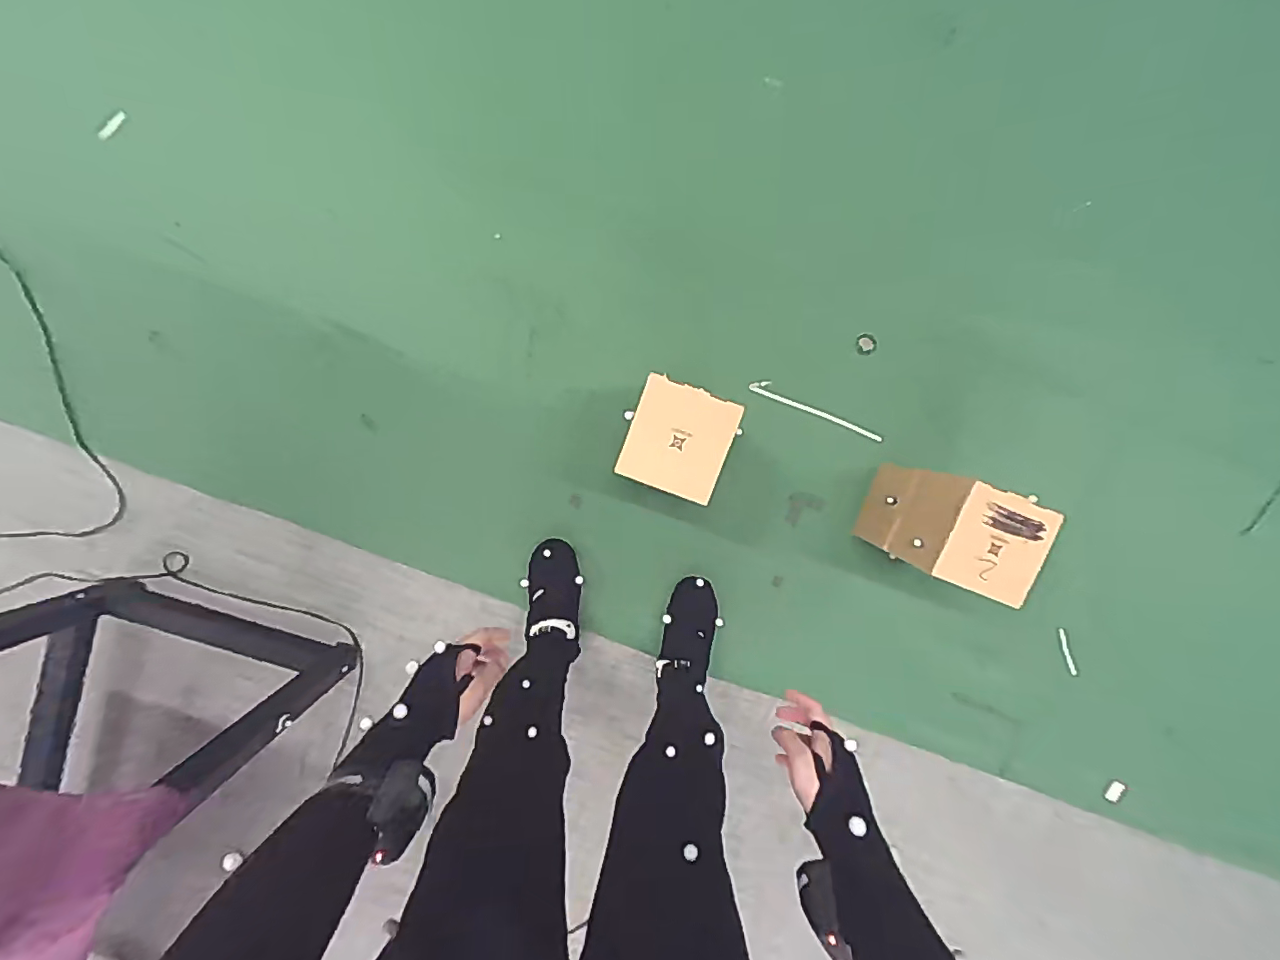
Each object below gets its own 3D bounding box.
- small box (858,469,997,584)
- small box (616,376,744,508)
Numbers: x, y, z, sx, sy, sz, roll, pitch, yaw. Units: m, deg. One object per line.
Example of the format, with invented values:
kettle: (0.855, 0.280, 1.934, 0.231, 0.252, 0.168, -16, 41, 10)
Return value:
small box: (0.588, 0.087, 1.132, 0.168, 0.176, 0.179, 23, 96, -2)
small box: (0.068, -0.068, 0.959, 0.168, 0.176, 0.179, 20, 95, -1)
